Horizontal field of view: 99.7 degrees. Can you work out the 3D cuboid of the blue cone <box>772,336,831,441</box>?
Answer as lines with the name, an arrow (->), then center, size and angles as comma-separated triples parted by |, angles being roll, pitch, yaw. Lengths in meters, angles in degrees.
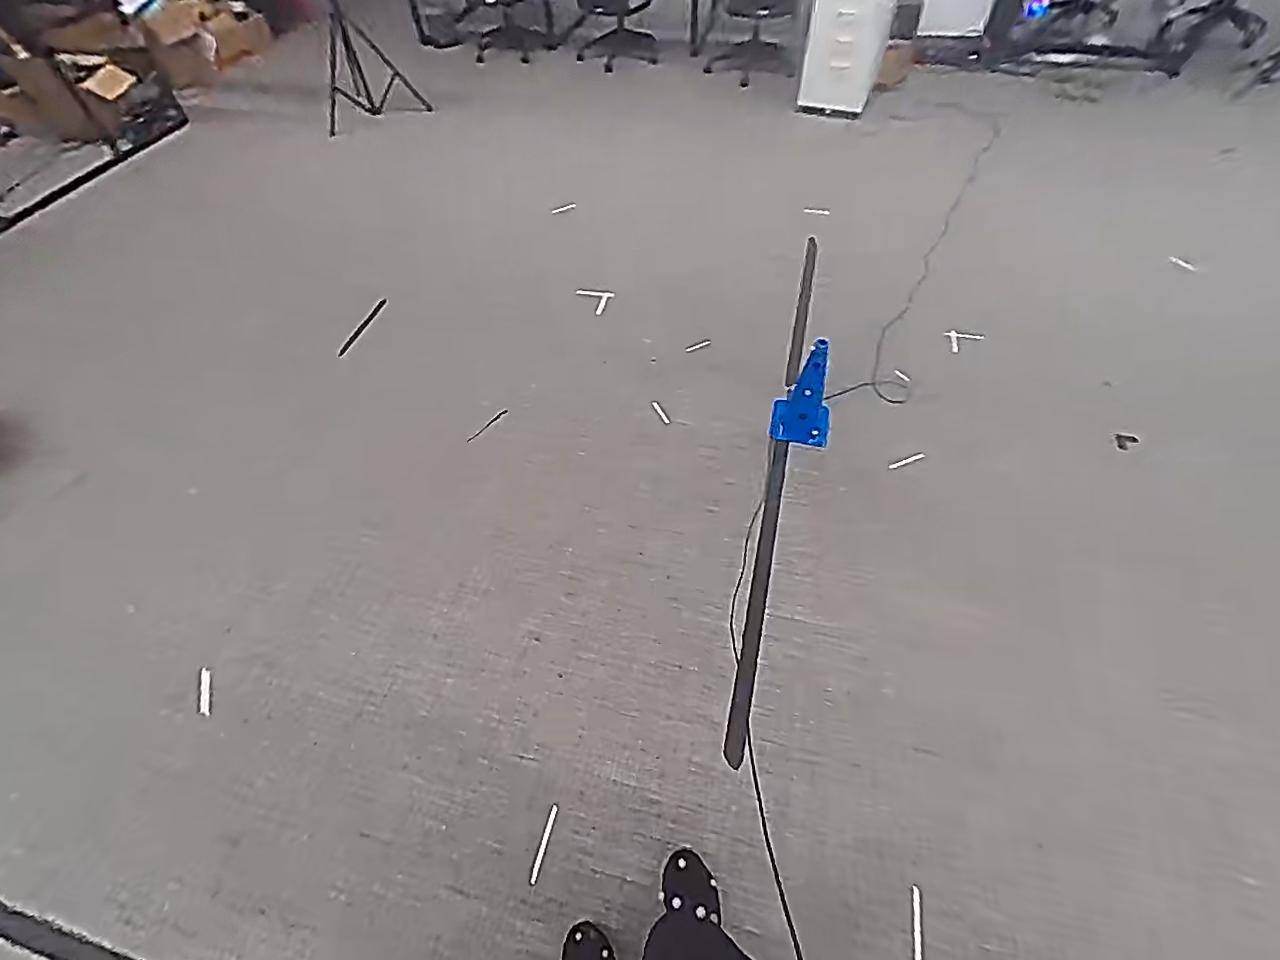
blue cone -> 0.566, -0.321, 1.791 | 0.193, 0.380, 0.192 | 10, 54, 9
